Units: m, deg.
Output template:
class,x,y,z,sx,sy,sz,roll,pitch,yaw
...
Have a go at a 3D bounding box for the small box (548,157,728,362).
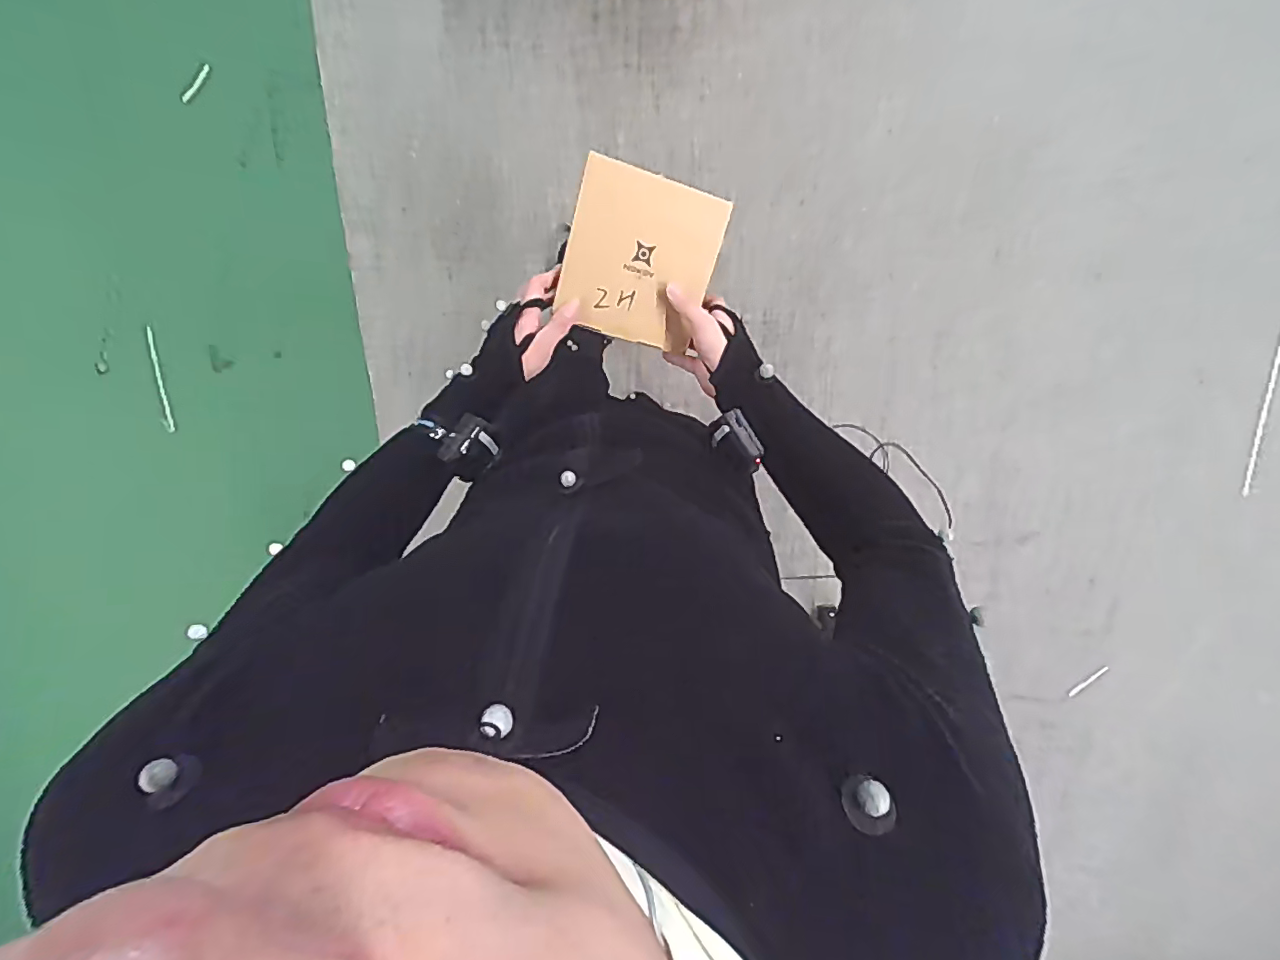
class,x,y,z,sx,sy,sz,roll,pitch,yaw
small box,-0.014,-0.266,0.674,0.168,0.176,0.179,14,109,-12
